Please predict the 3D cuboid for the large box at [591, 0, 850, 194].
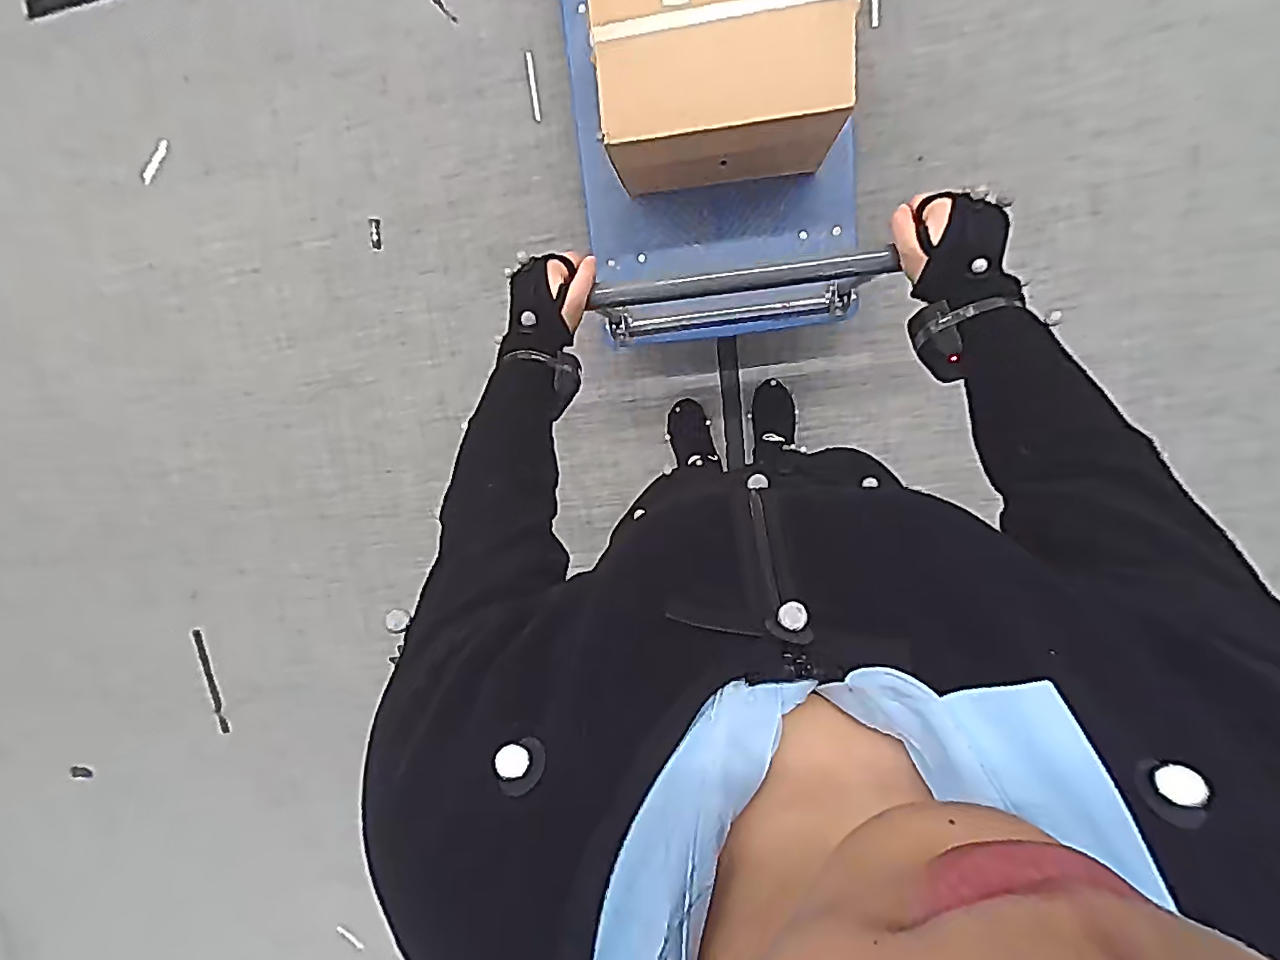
[{"bbox_3d":[0.144,-0.759,0.997,0.408,0.320,0.320,-4,102,9],"label":"large box"}]
